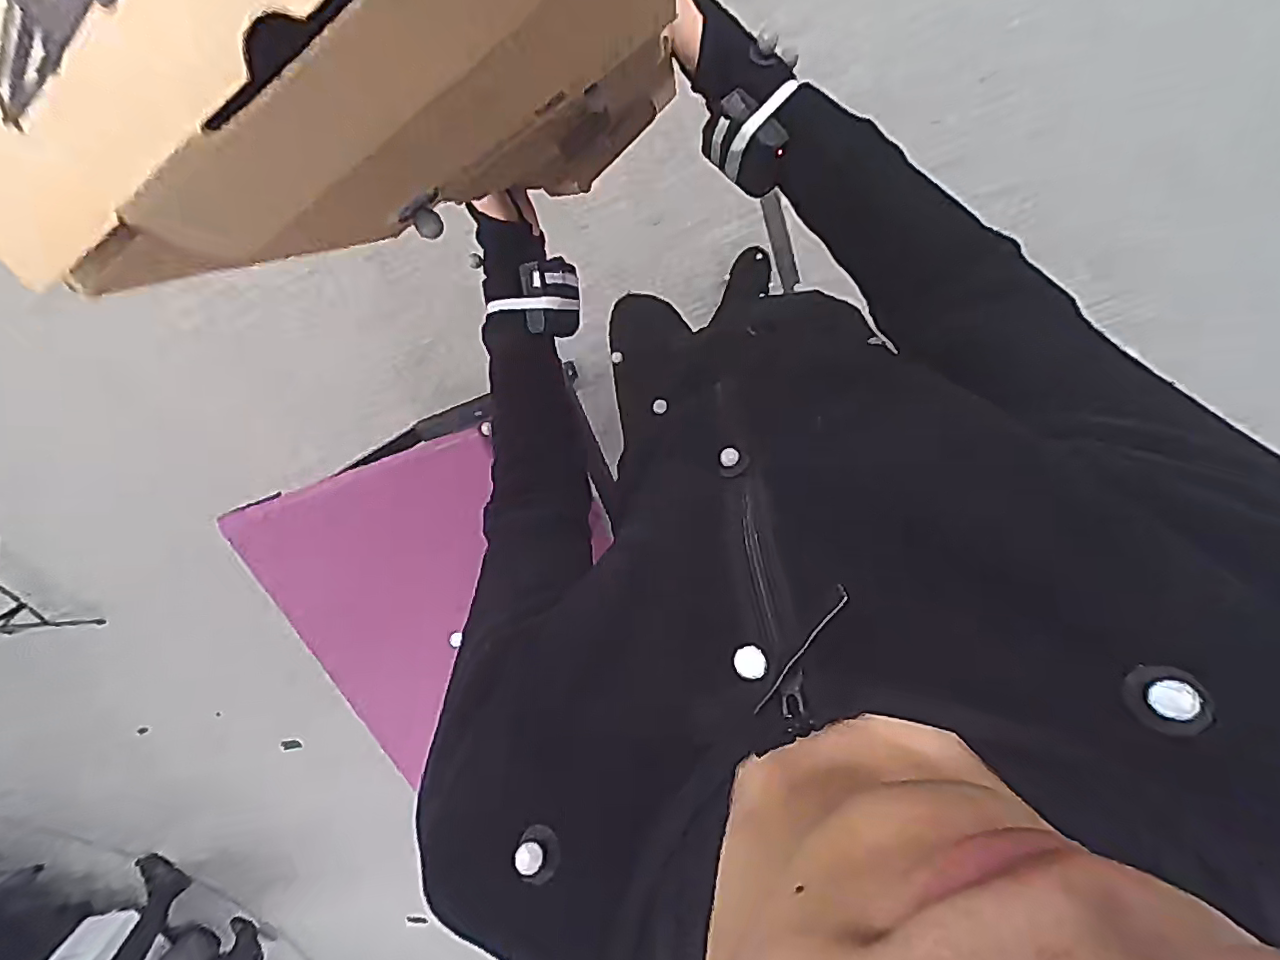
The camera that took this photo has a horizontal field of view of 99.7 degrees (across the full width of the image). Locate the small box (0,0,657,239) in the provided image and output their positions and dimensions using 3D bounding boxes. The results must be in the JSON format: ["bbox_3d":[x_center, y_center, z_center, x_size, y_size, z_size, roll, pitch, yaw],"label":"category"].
[{"bbox_3d":[-0.099,-0.193,0.141,0.168,0.176,0.179,-27,112,16],"label":"small box"}]

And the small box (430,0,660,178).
[{"bbox_3d":[-0.098,-0.282,0.279,0.168,0.176,0.179,-27,112,17],"label":"small box"}]
